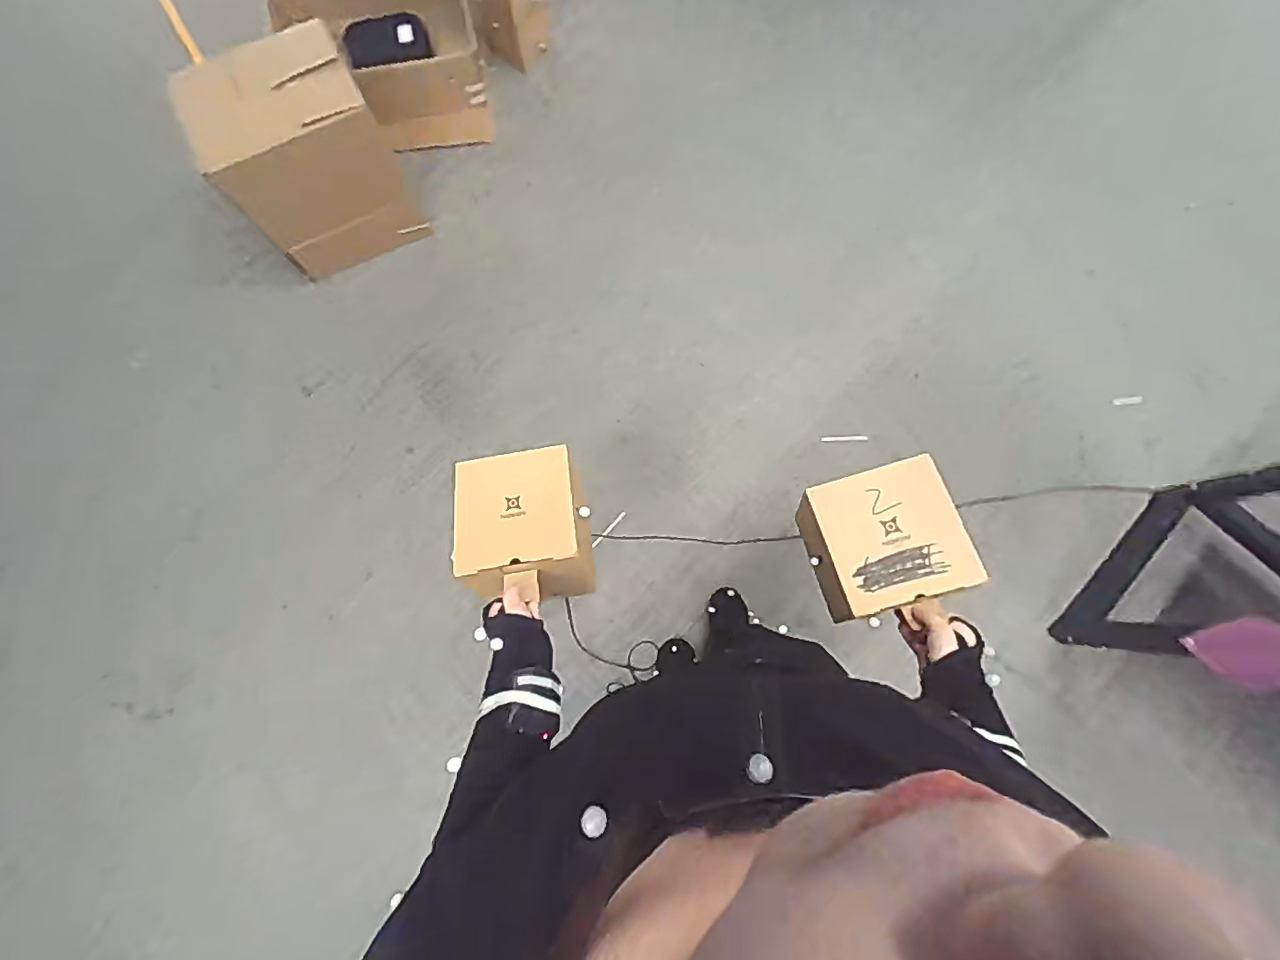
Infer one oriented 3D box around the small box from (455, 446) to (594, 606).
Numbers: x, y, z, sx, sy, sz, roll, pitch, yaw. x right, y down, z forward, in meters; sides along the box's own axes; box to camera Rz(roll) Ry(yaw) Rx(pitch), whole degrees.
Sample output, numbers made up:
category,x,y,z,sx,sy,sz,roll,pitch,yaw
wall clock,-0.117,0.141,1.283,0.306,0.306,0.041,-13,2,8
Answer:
category,x,y,z,sx,sy,sz,roll,pitch,yaw
small box,-0.167,0.074,0.820,0.168,0.176,0.179,-9,61,0
